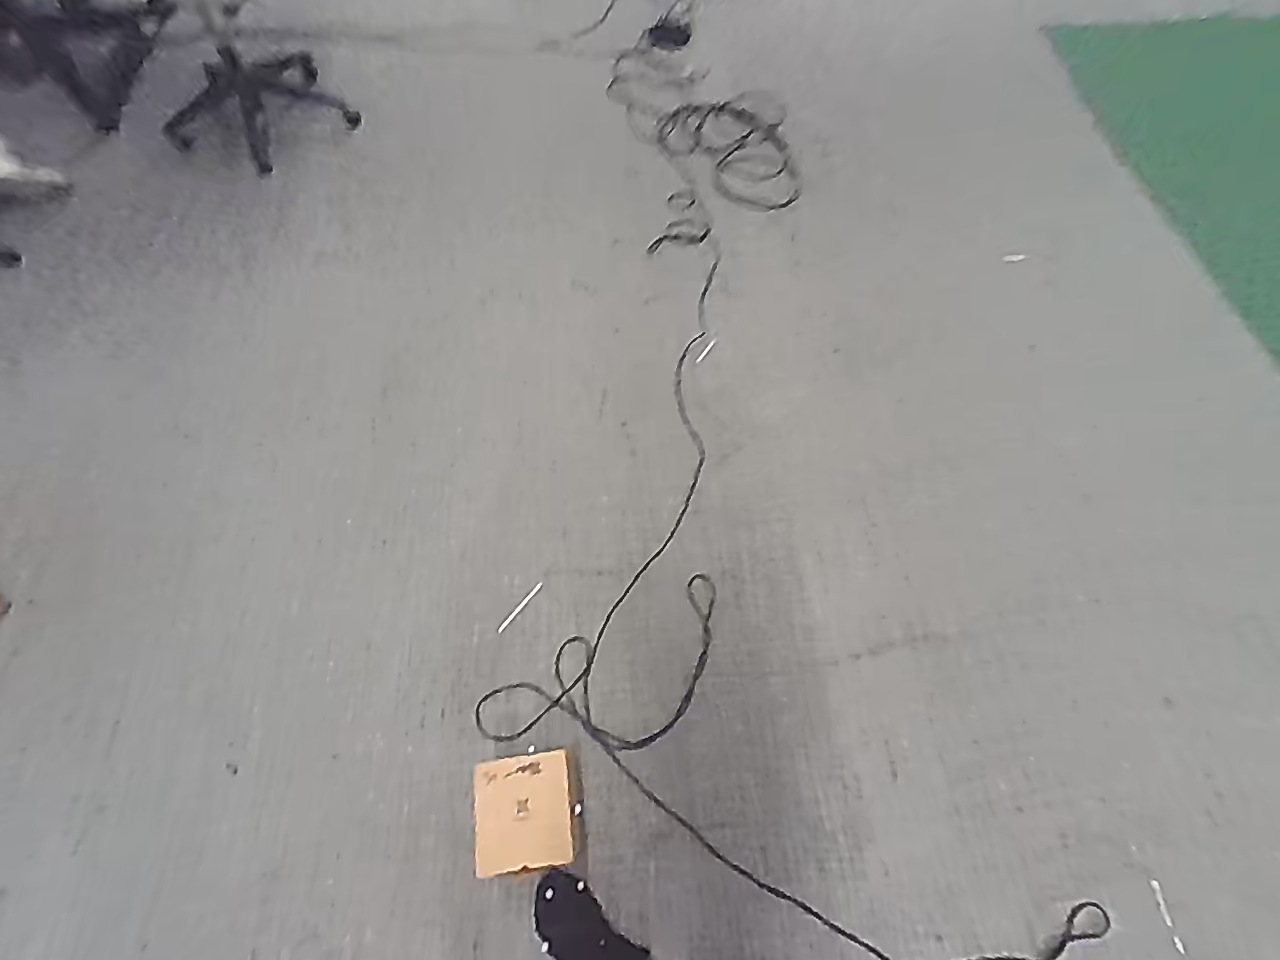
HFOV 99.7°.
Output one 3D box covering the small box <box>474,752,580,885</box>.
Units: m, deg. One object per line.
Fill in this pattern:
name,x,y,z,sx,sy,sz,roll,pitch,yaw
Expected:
small box,-0.207,0.620,1.012,0.168,0.176,0.179,-7,65,-4
